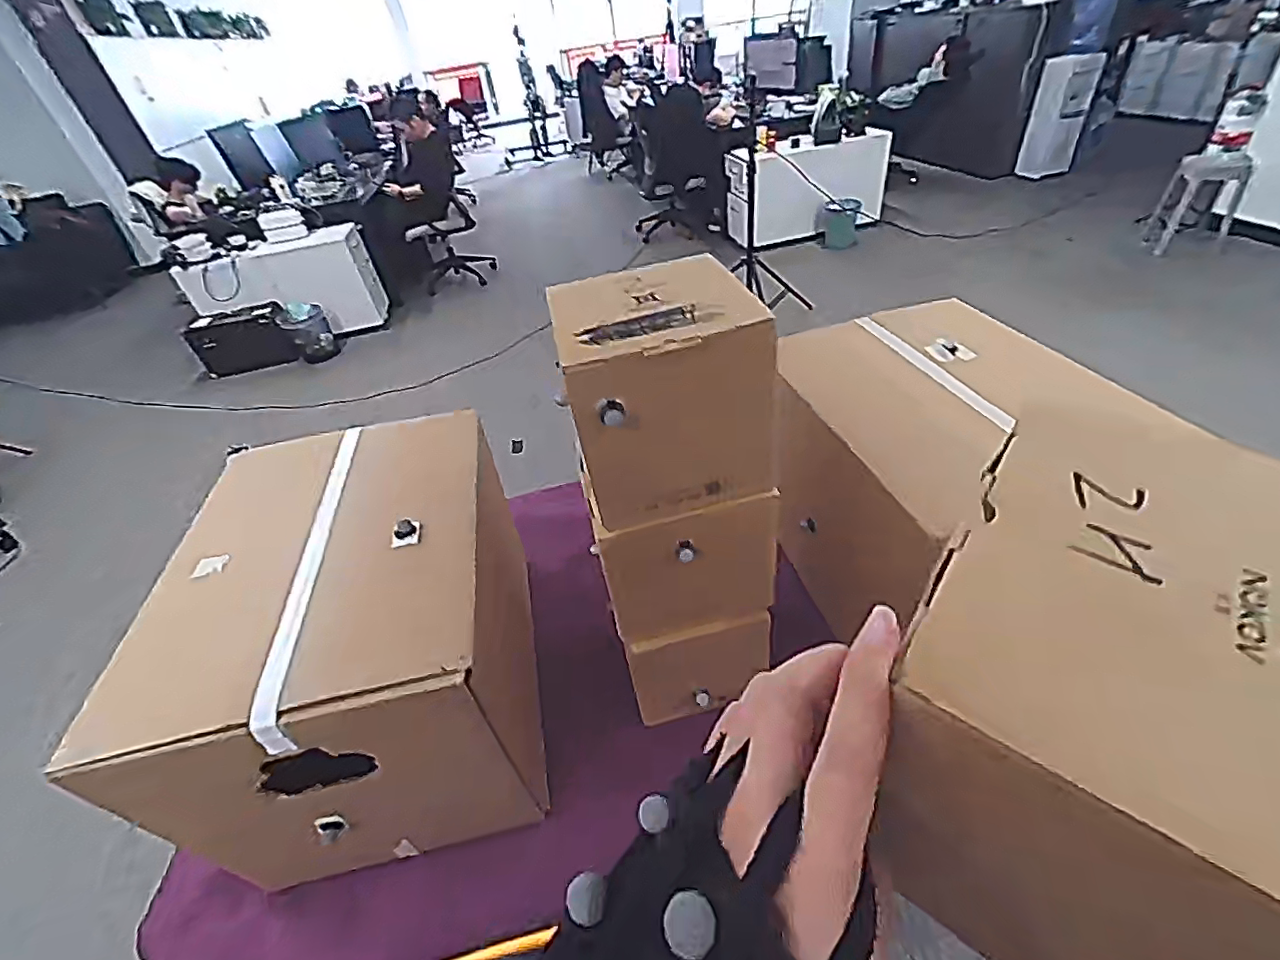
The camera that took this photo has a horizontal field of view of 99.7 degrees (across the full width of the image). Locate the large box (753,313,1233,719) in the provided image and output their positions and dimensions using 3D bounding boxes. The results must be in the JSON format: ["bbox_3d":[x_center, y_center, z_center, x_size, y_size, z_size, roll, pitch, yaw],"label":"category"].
[{"bbox_3d":[0.373,0.023,0.720,0.320,0.320,0.408,-14,39,-5],"label":"large box"}]
